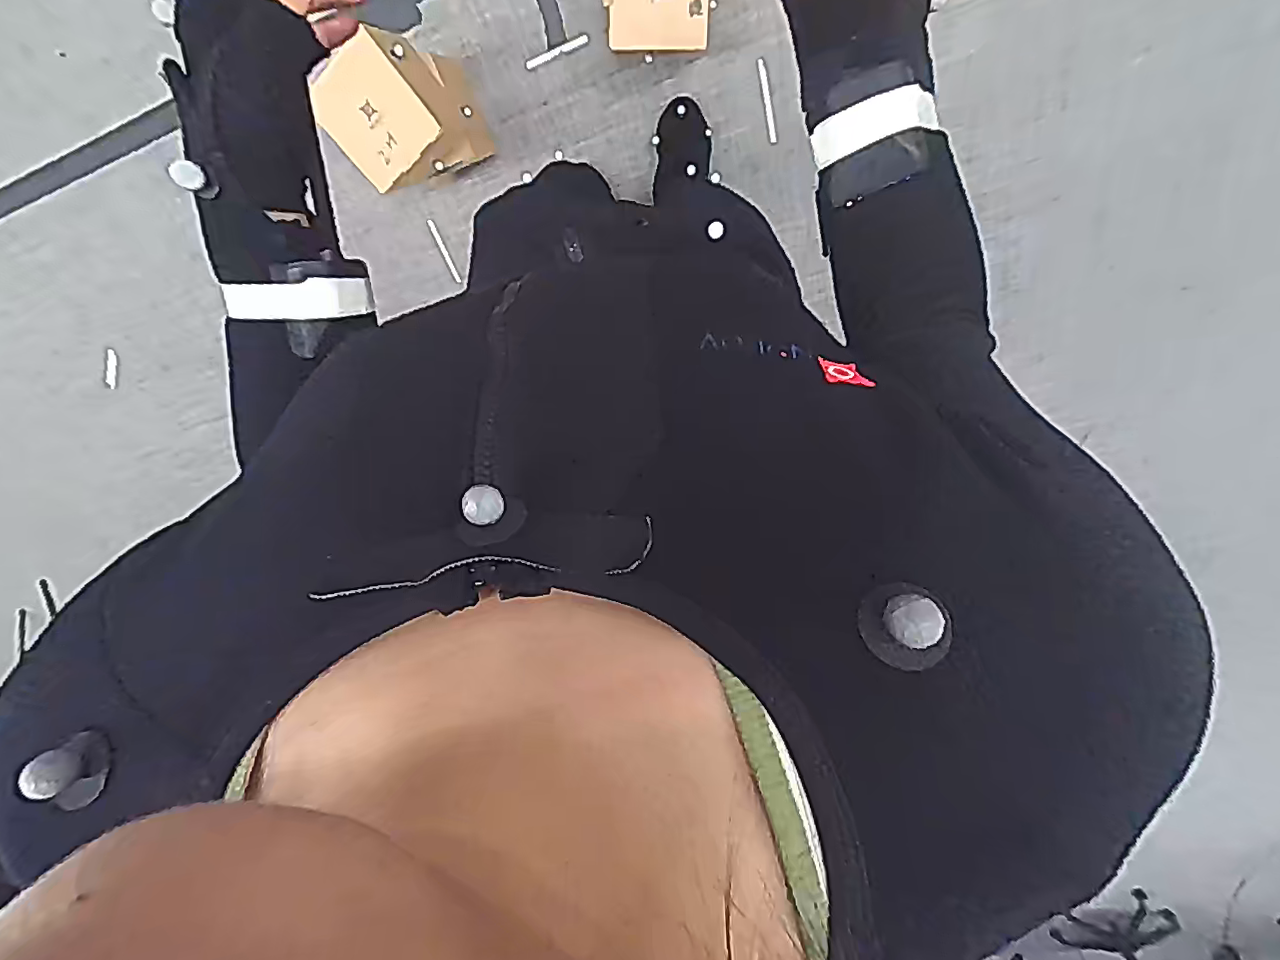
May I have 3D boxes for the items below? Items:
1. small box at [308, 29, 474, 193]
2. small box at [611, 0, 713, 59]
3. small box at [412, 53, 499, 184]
[{"bbox_3d":[-0.432,-0.653,0.968,0.168,0.176,0.179,-26,121,21],"label":"small box"},{"bbox_3d":[0.041,-0.881,0.982,0.179,0.176,0.168,-1,123,3],"label":"small box"},{"bbox_3d":[-0.414,-0.736,1.110,0.168,0.176,0.179,-15,121,14],"label":"small box"}]
